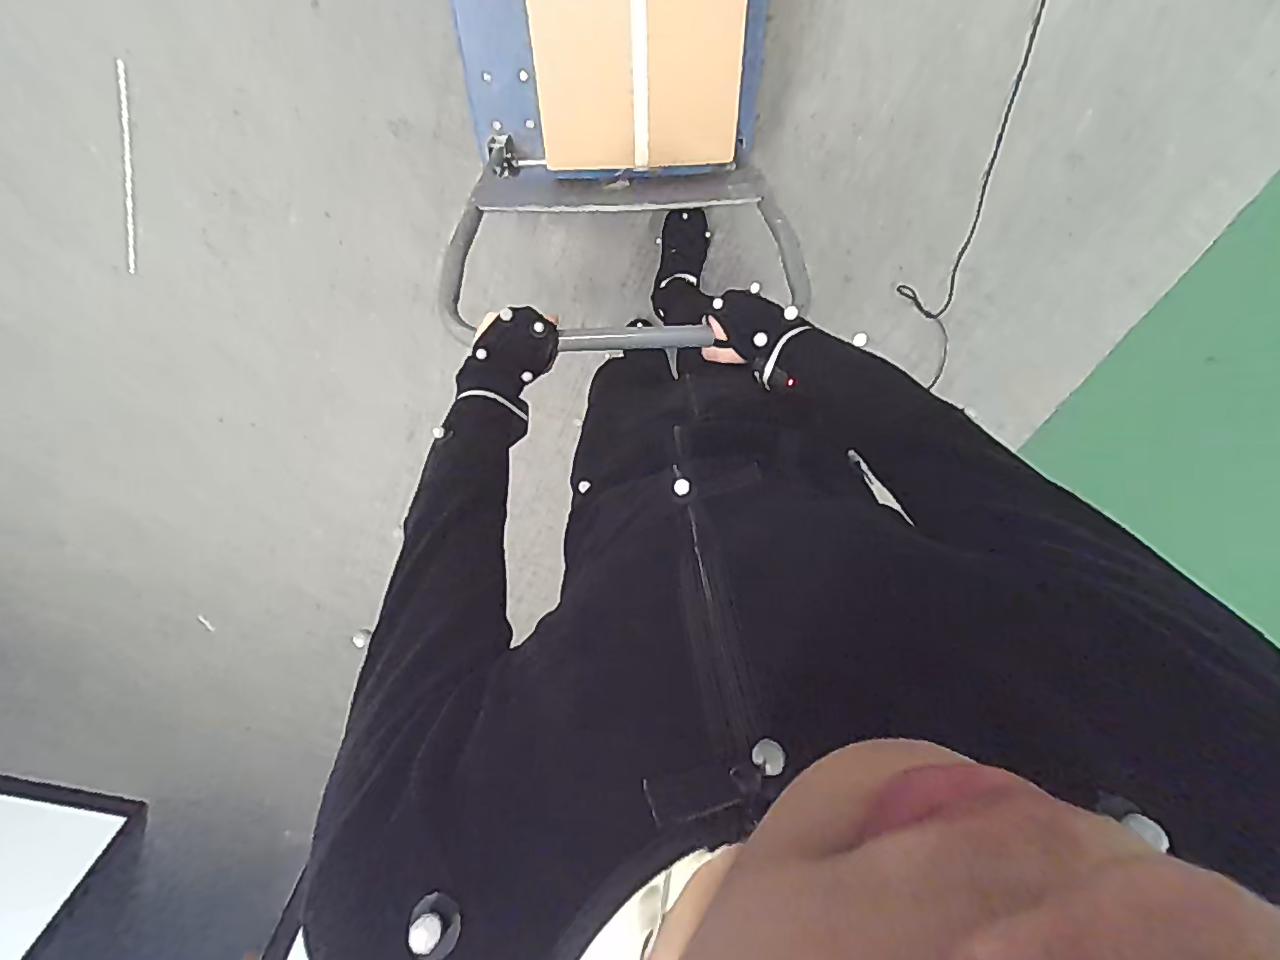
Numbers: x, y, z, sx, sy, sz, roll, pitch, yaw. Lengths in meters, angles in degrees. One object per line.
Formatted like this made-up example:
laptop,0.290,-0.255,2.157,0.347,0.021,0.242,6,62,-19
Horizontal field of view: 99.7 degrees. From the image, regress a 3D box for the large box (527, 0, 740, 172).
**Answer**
large box,-0.010,-0.777,0.897,0.320,0.320,0.408,-3,132,0
